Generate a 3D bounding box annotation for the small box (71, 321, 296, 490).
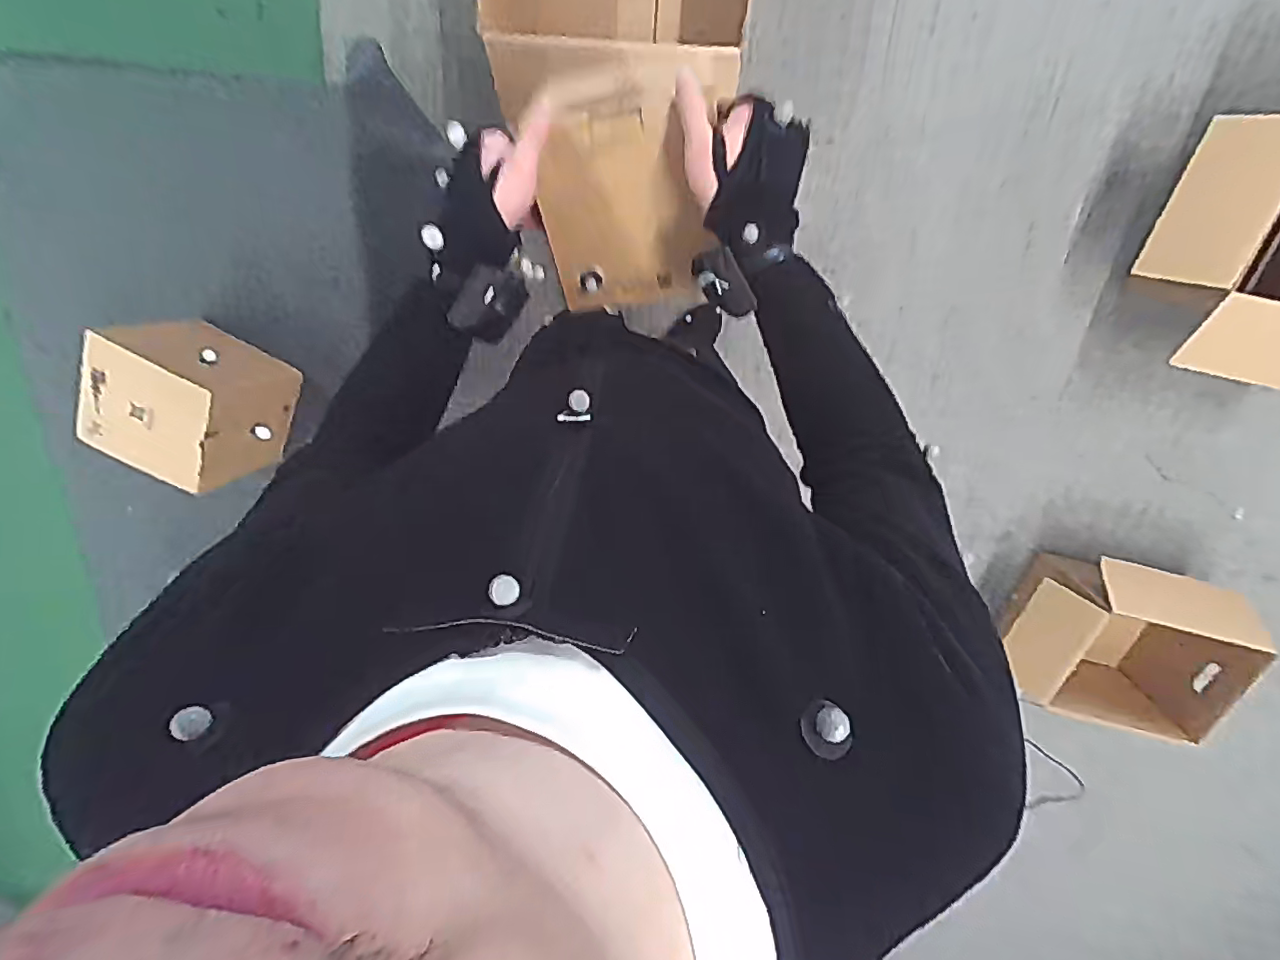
[{"bbox_3d":[-0.644,-0.117,0.780,0.179,0.176,0.168,28,110,-5],"label":"small box"}]
